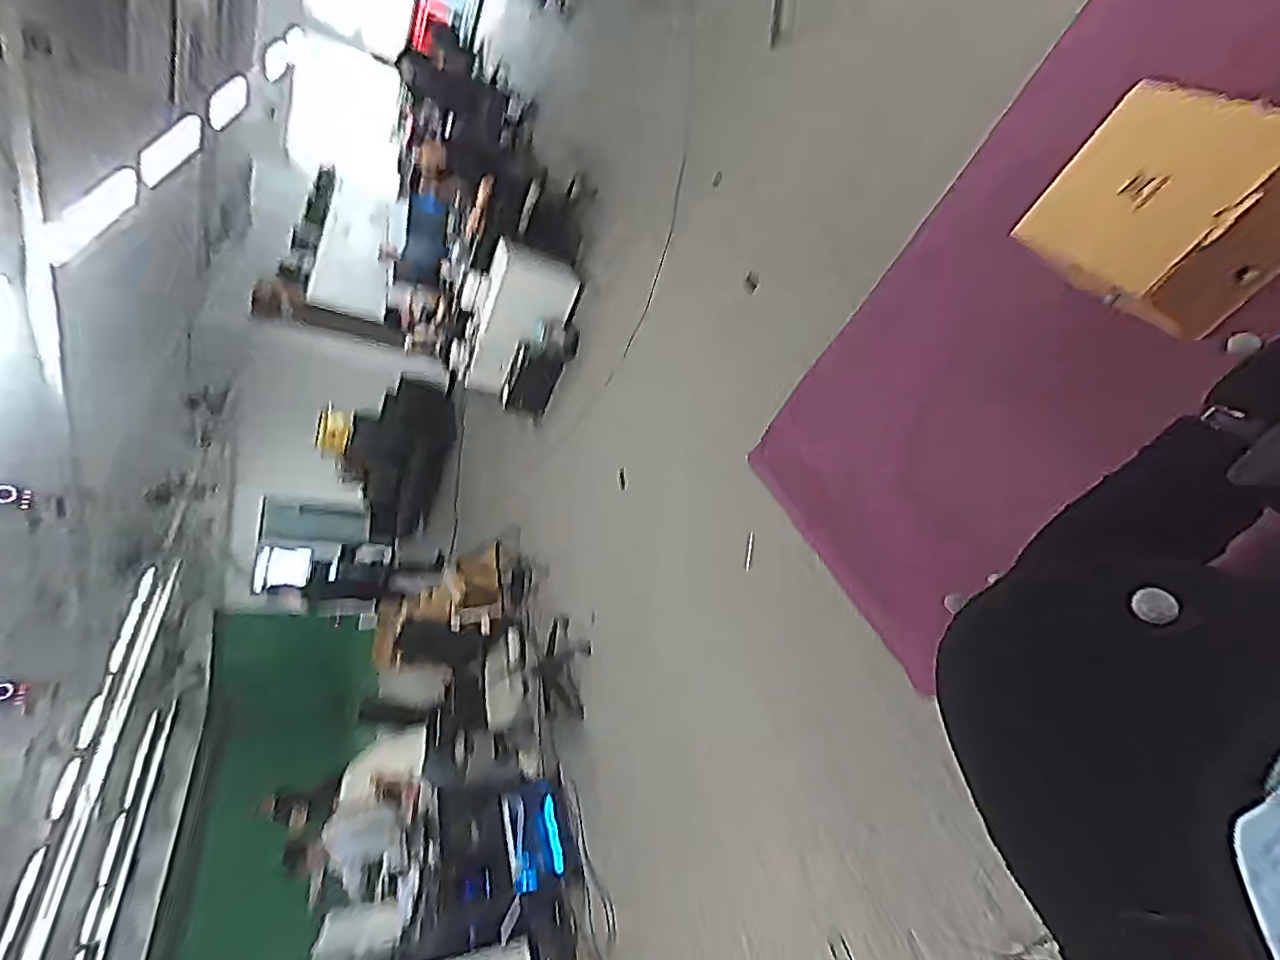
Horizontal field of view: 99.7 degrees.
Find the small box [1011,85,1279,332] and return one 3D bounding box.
[{"bbox_3d":[0.571,-0.286,0.591,0.168,0.176,0.179,-58,38,32],"label":"small box"}]
